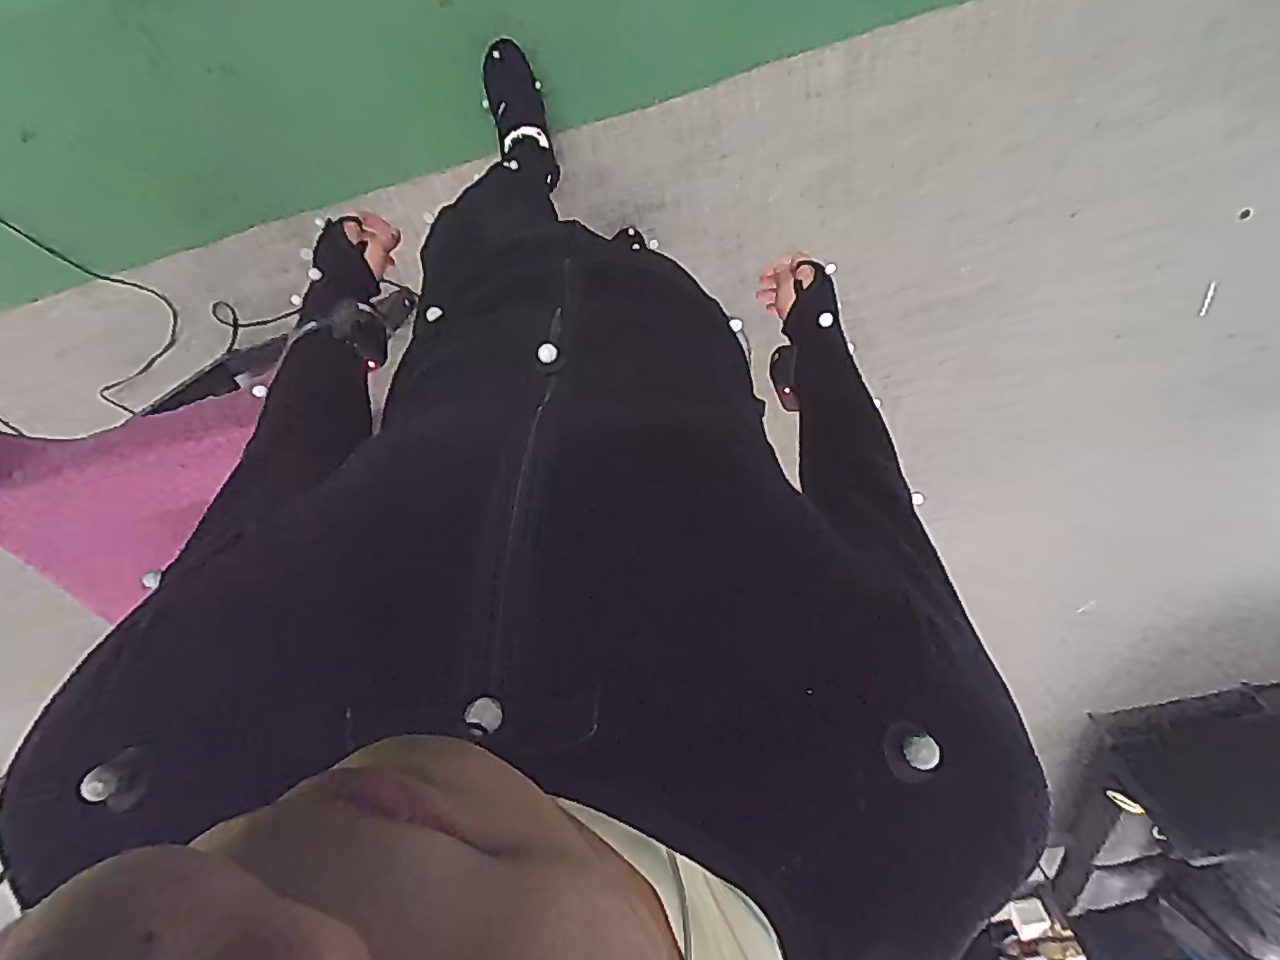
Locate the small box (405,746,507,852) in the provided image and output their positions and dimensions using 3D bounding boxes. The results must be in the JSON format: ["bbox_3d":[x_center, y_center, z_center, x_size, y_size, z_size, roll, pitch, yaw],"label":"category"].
[{"bbox_3d":[-0.463,0.818,1.390,0.179,0.176,0.168,-19,125,8],"label":"small box"}]
